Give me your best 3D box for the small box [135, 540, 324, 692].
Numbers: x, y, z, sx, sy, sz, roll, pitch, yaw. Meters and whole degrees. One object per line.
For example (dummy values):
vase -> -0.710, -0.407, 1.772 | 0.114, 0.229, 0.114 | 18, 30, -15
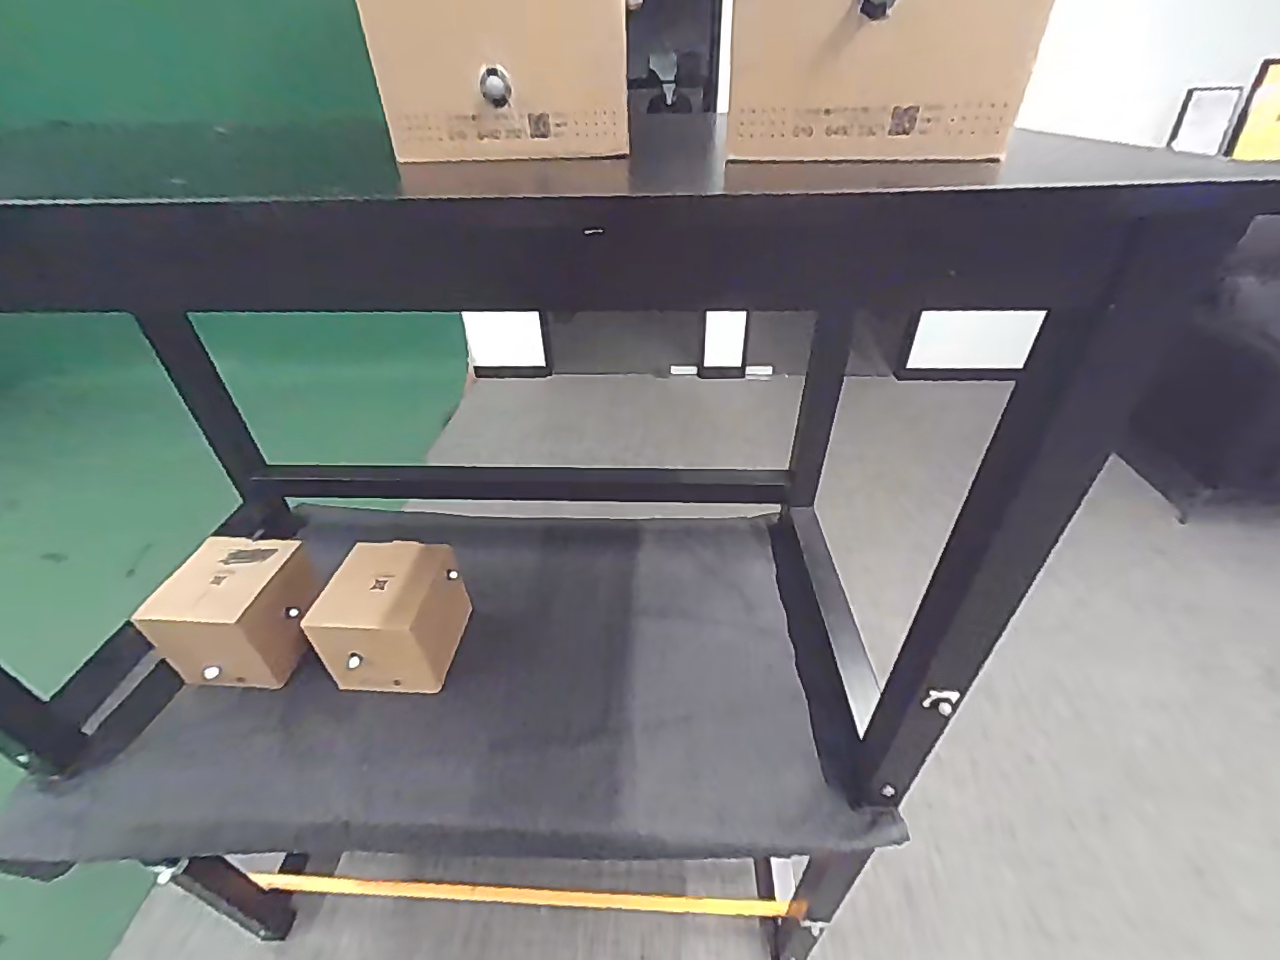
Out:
small box -> -0.651, 0.222, 0.896 | 0.168, 0.176, 0.179 | 1, 37, 4

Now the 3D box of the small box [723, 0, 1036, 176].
small box -> 0.149, -0.307, 0.358 | 0.168, 0.176, 0.179 | 8, 38, 12

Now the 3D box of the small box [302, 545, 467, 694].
small box -> -0.399, 0.228, 0.885 | 0.168, 0.176, 0.179 | 1, 36, 3
